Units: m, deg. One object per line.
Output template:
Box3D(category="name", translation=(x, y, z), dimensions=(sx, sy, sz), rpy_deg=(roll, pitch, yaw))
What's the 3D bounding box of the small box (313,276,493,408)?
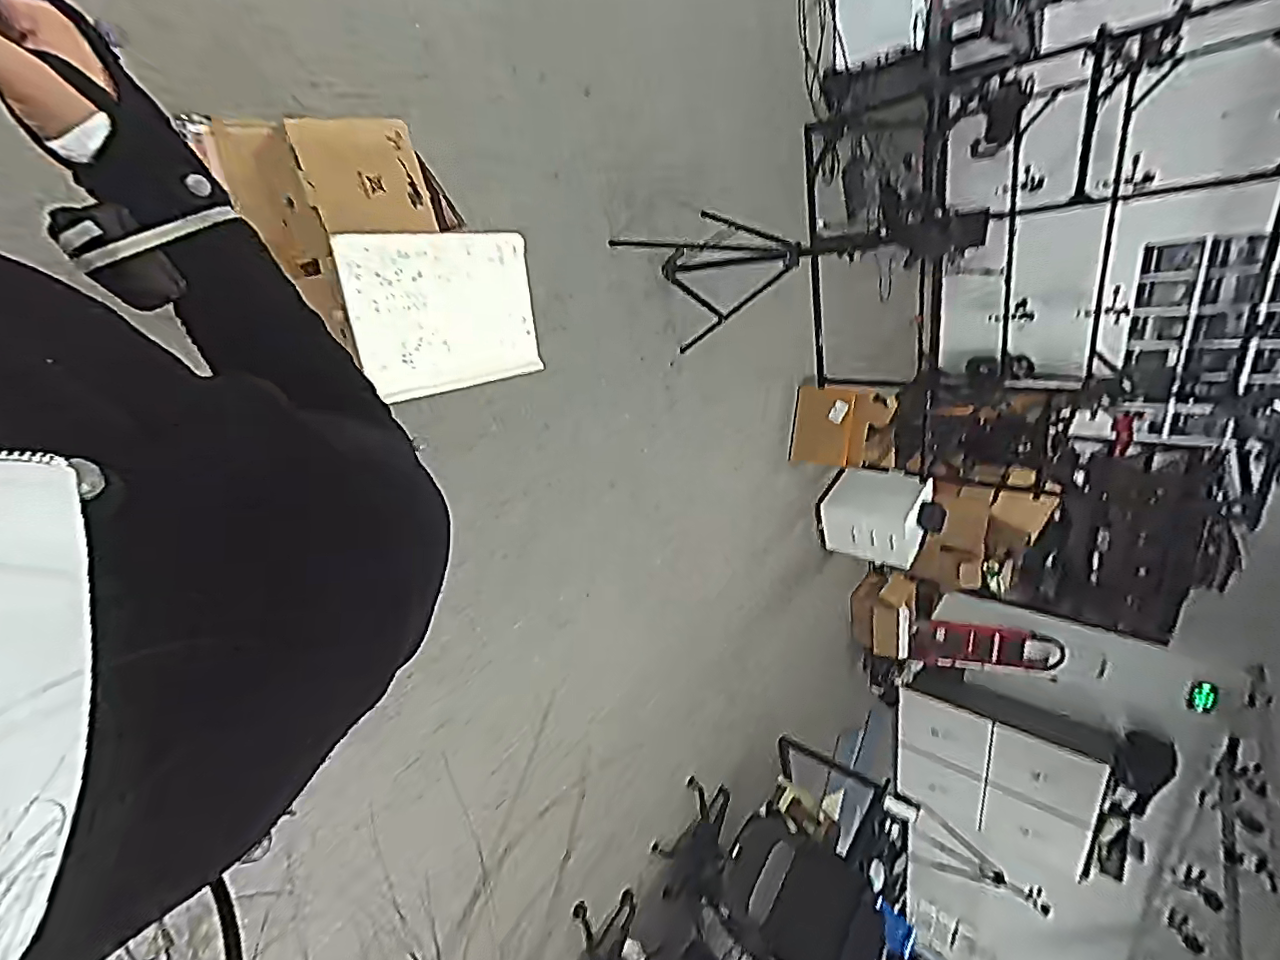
Box3D(category="small box", translation=(-0.350, -0.214, 0.809), dimensions=(0.179, 0.176, 0.168), rpy_deg=(-25, 119, -42))
